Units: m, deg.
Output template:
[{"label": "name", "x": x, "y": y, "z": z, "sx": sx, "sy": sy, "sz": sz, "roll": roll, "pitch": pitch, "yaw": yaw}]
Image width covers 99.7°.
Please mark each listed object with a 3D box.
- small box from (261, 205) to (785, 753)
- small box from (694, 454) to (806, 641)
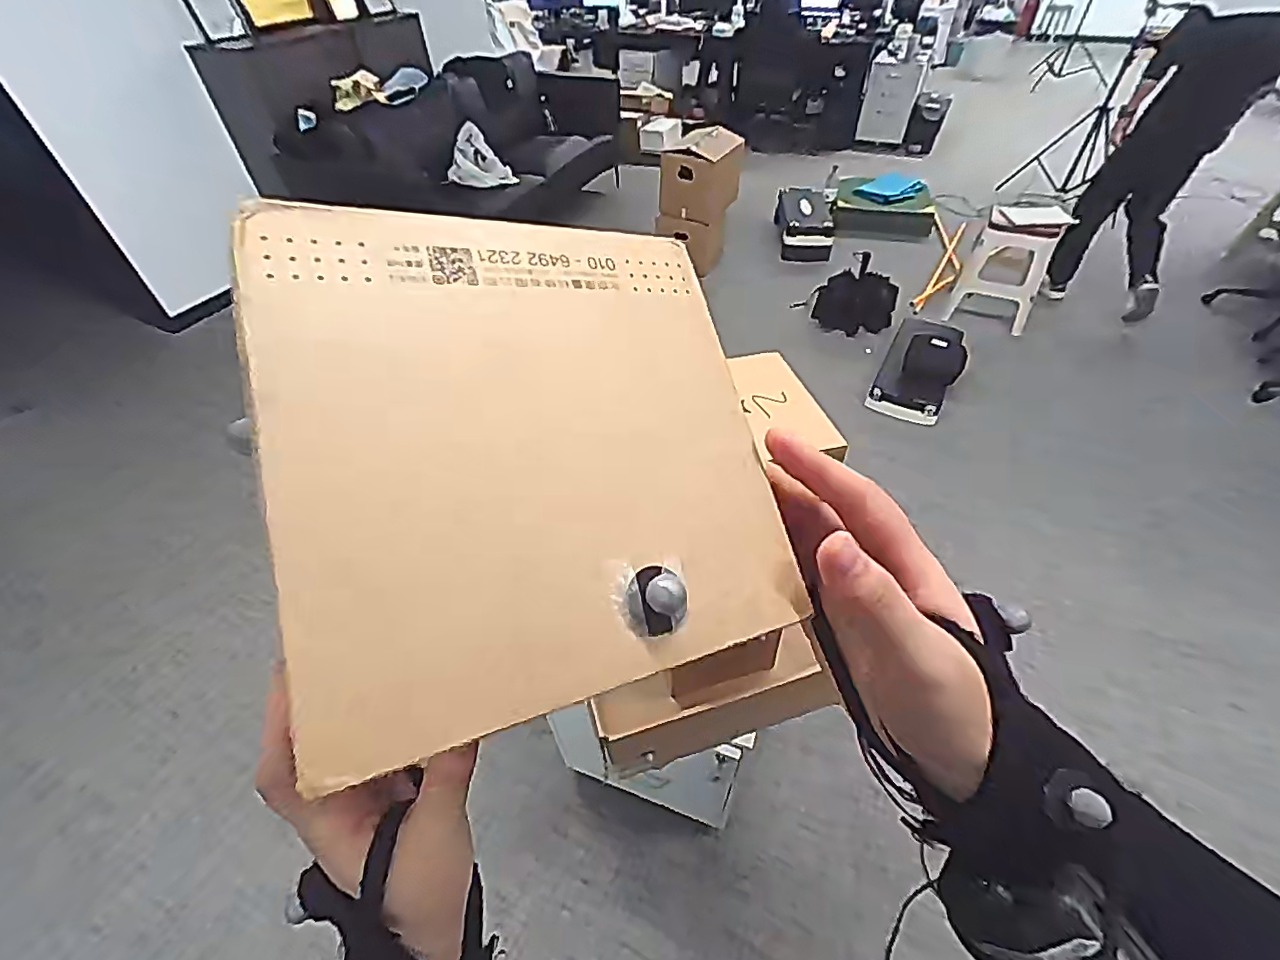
[{"label": "small box", "x": -0.067, "y": 0.007, "z": 0.261, "sx": 0.168, "sy": 0.179, "sz": 0.176, "roll": -9, "pitch": 75, "yaw": -29}, {"label": "small box", "x": 0.096, "y": 0.095, "z": 0.731, "sx": 0.179, "sy": 0.176, "sz": 0.168, "roll": -14, "pitch": 45, "yaw": -8}]
